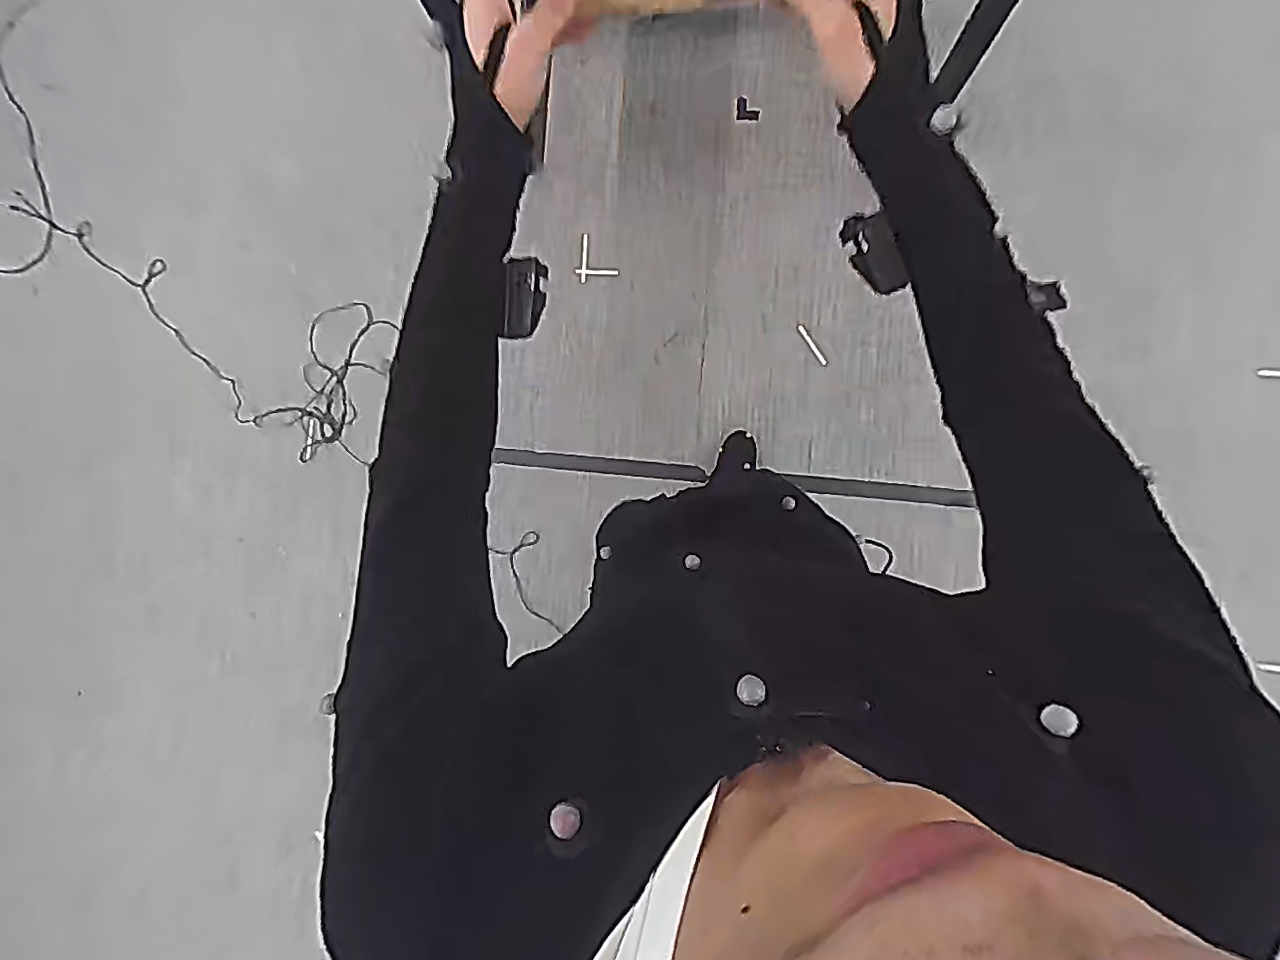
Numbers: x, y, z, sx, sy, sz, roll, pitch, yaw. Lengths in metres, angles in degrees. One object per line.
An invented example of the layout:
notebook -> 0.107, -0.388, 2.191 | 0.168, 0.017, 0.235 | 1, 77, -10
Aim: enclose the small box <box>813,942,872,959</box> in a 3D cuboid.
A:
small box -> 0.567, 1.421, 1.467 | 0.168, 0.176, 0.179 | 4, 89, 4
